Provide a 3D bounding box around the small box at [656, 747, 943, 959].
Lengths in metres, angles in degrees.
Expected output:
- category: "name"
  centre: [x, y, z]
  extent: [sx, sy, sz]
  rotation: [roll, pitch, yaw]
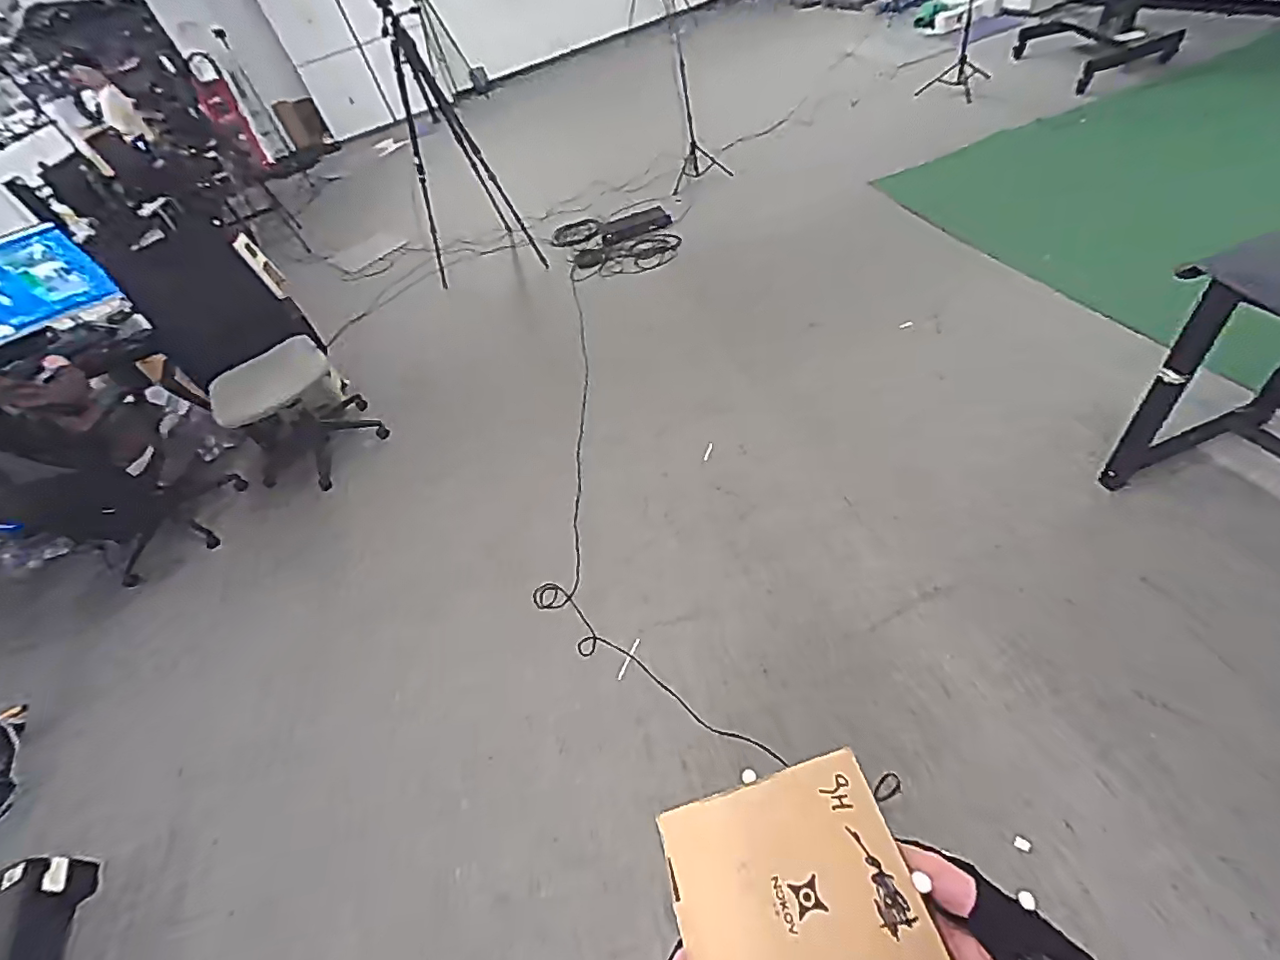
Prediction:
- category: "small box"
  centre: [0.131, 0.356, 0.474]
  extent: [0.179, 0.176, 0.168]
  rotation: [-19, 56, 2]
